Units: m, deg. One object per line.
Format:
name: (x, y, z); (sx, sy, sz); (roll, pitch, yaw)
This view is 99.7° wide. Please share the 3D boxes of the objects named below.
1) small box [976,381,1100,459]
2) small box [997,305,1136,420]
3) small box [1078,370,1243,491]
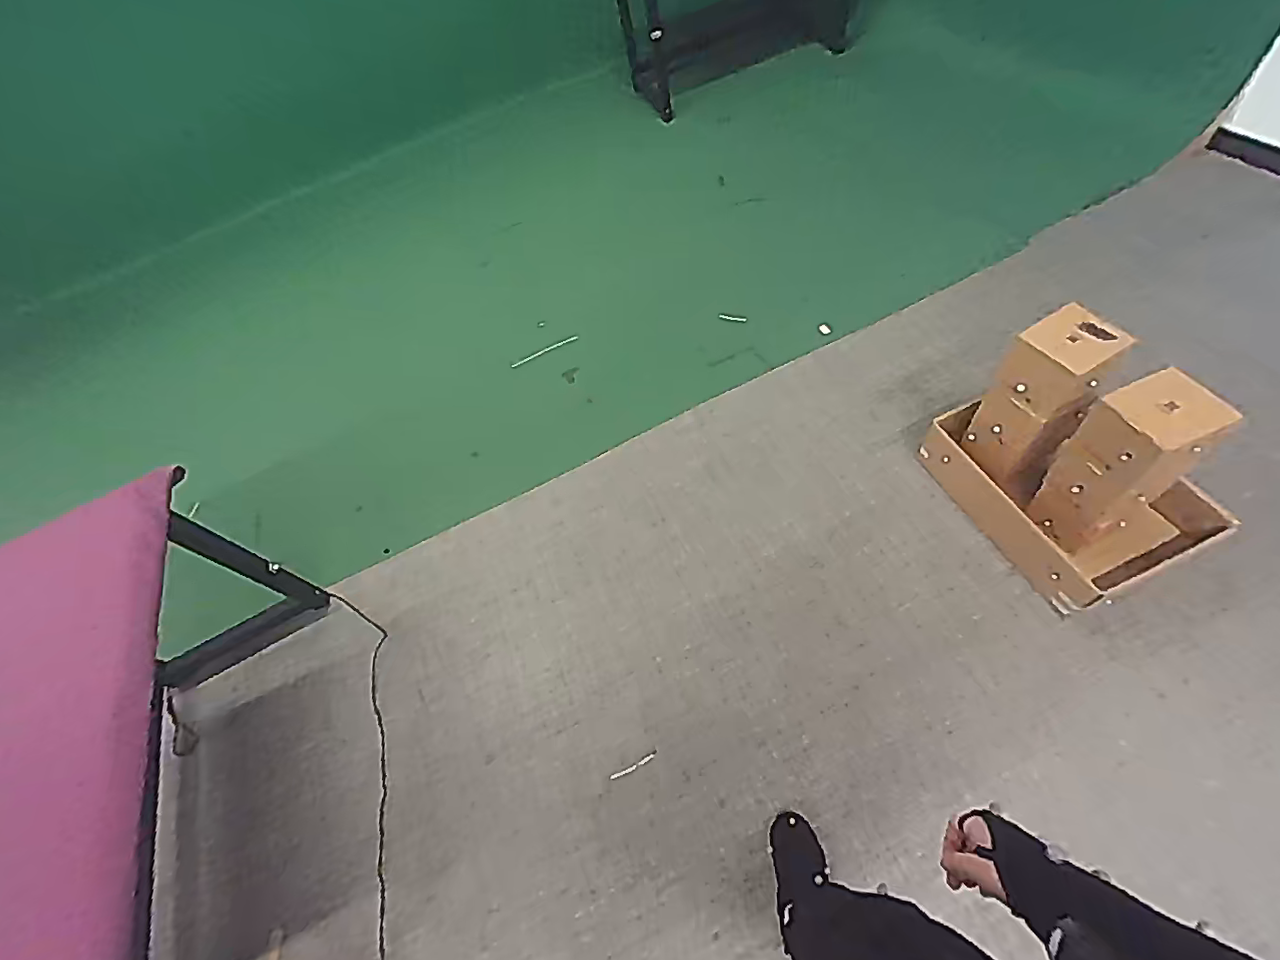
small box: (1.050, -0.188, 1.446); (0.179, 0.176, 0.168); (-25, 57, -4)
small box: (1.020, -0.282, 1.314); (0.179, 0.176, 0.168); (-30, 57, -7)
small box: (1.116, -0.102, 1.185); (0.179, 0.176, 0.168); (-23, 55, -1)
